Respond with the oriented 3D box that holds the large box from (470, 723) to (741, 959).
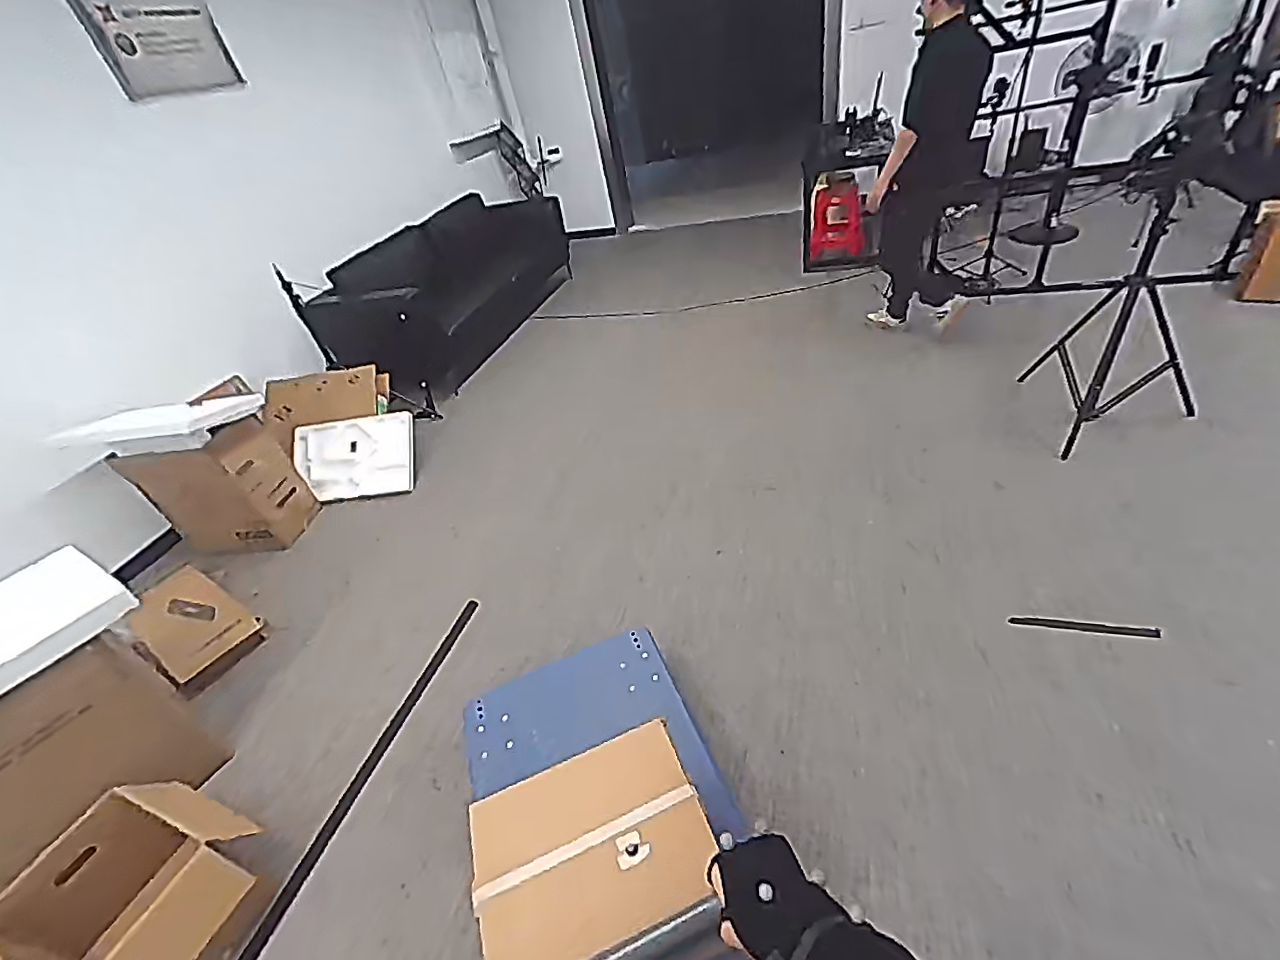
[{"bbox_3d":[-0.062,0.756,1.029,0.408,0.320,0.320,-20,38,-11],"label":"large box"}]
